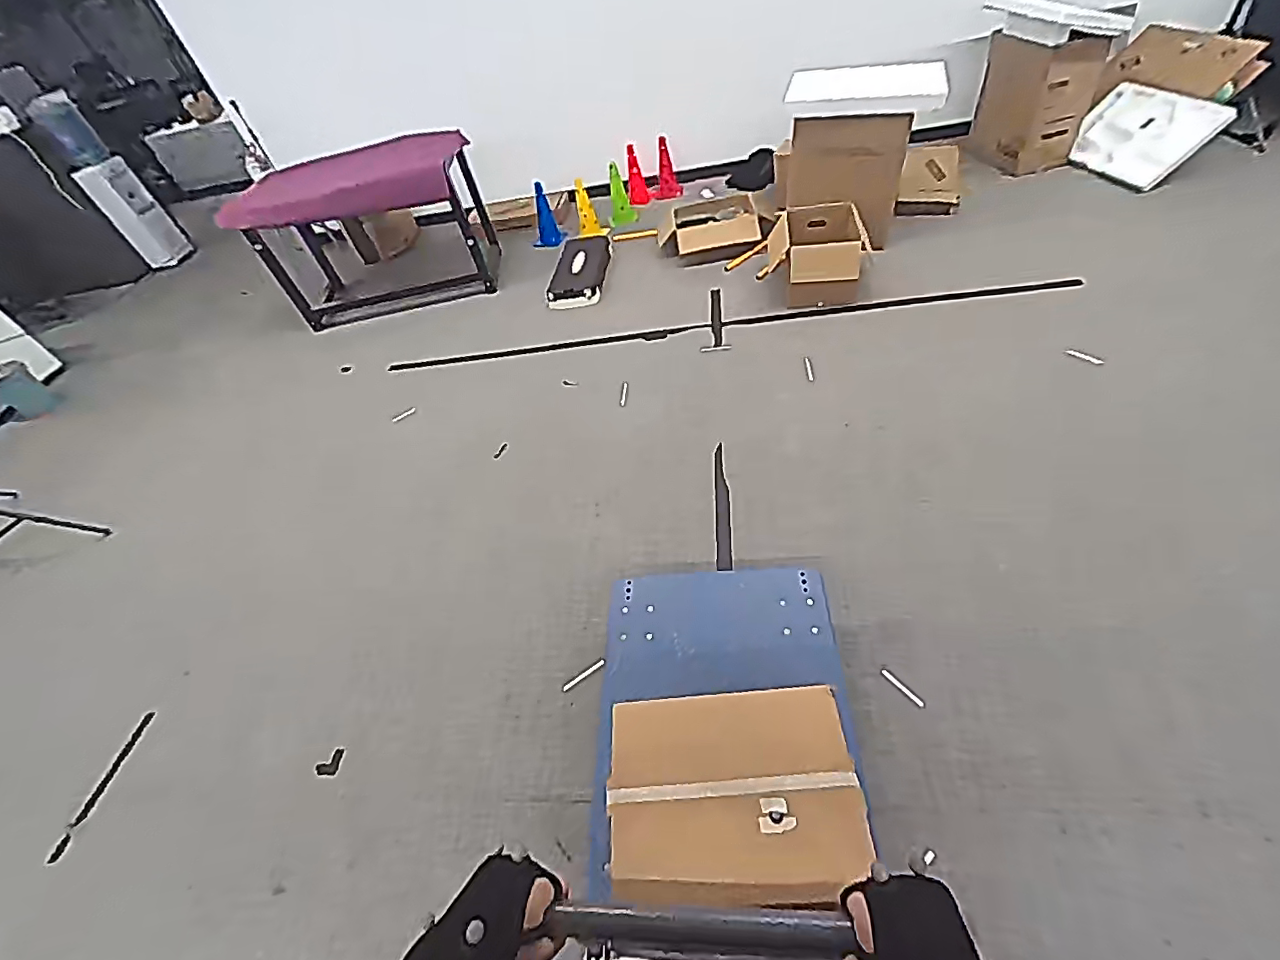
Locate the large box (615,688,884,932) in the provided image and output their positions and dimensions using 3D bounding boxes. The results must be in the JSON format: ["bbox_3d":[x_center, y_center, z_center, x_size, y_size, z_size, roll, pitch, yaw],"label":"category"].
[{"bbox_3d":[0.176,0.619,1.007,0.408,0.320,0.320,-7,47,5],"label":"large box"}]
